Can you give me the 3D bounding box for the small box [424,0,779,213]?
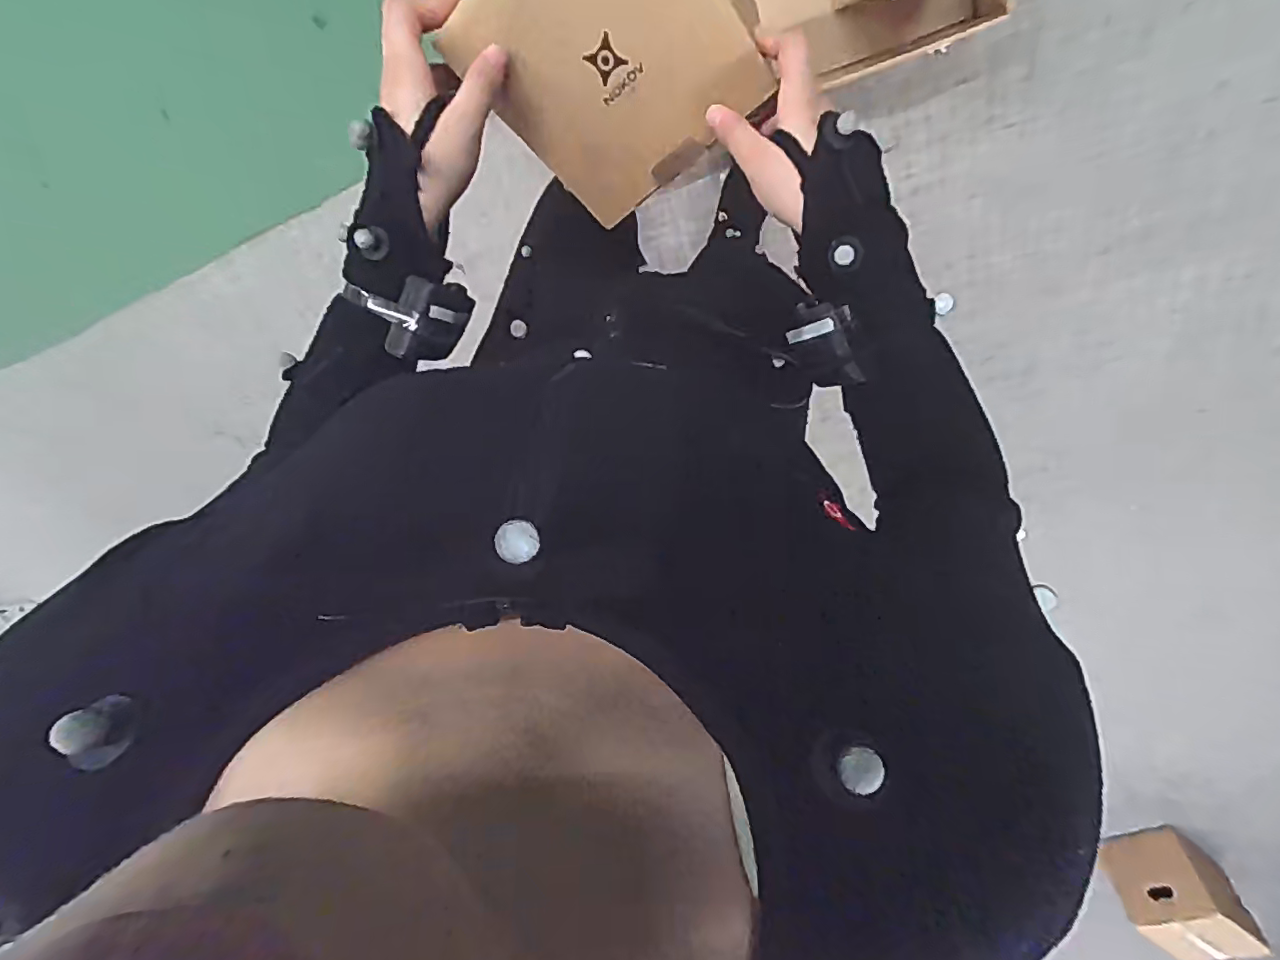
[{"bbox_3d":[-0.022,-0.351,0.397,0.168,0.176,0.179,-25,139,33],"label":"small box"}]
